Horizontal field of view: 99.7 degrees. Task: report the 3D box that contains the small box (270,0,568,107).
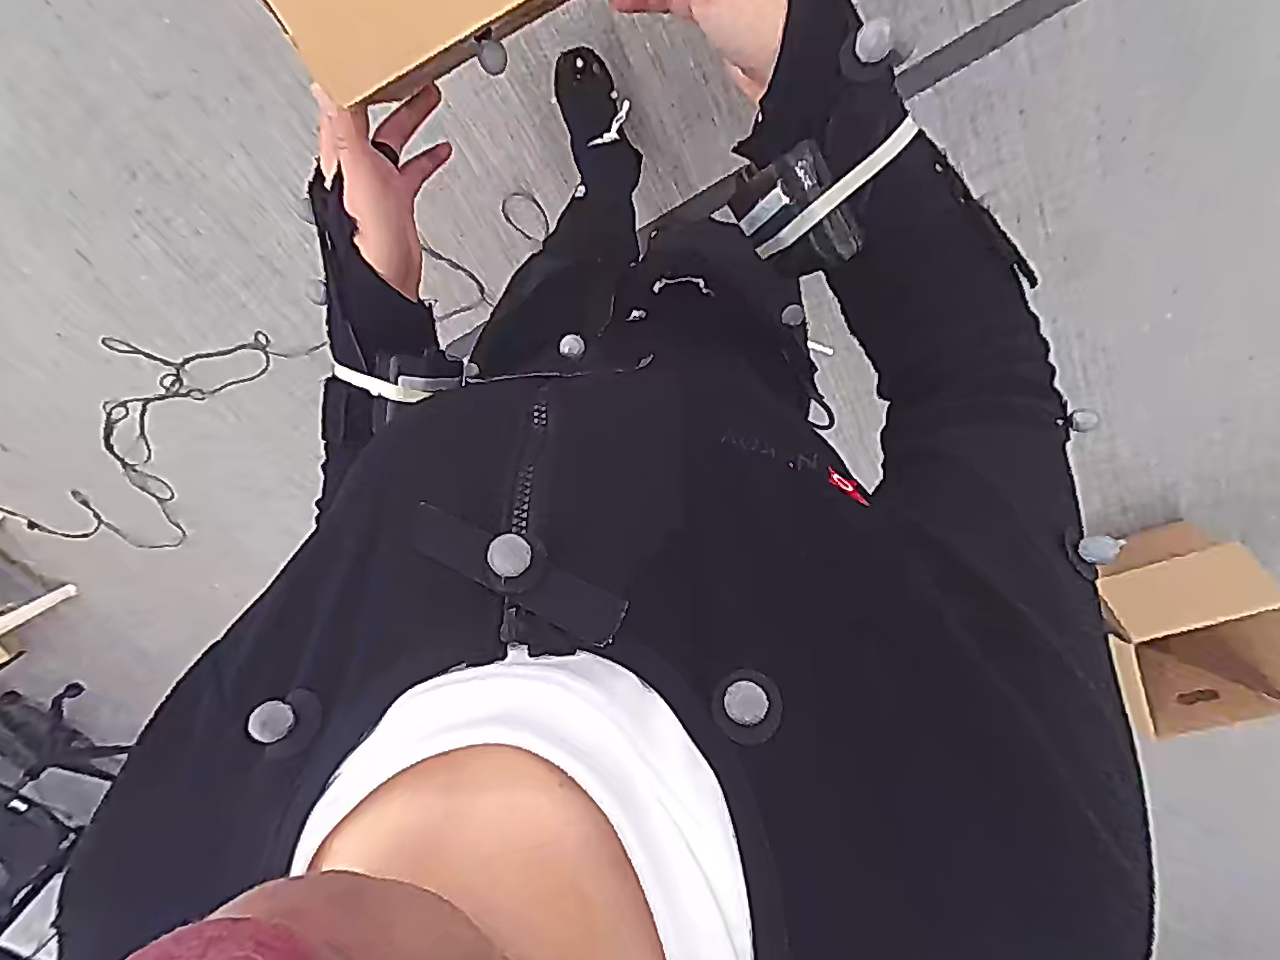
[{"bbox_3d":[-0.114,-0.319,0.266,0.179,0.176,0.168,-25,128,7],"label":"small box"}]
